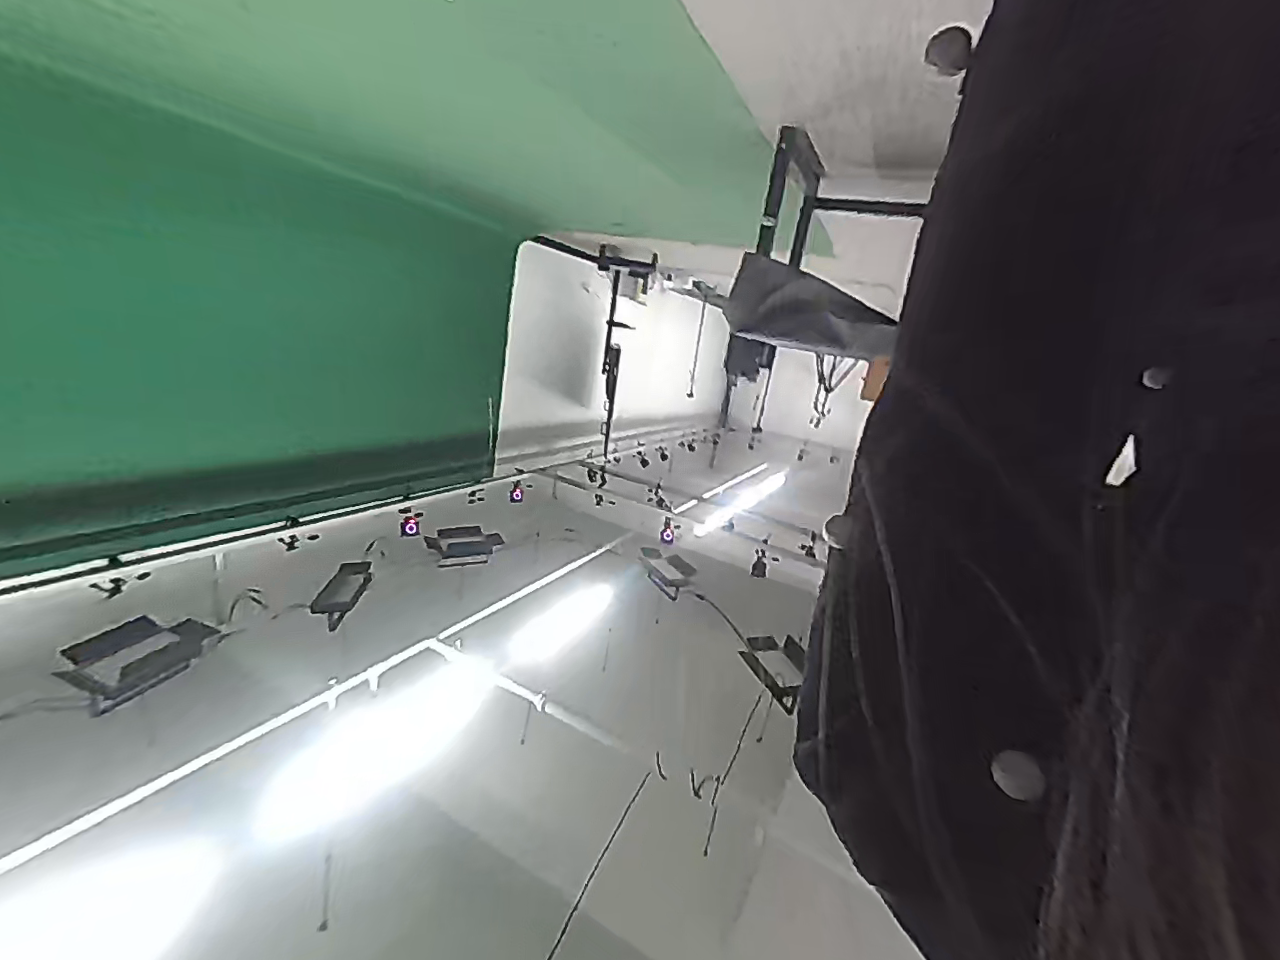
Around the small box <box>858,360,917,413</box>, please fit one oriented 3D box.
[{"bbox_3d":[0.932,-0.355,2.037,0.168,0.176,0.179,15,-165,22],"label":"small box"}]
